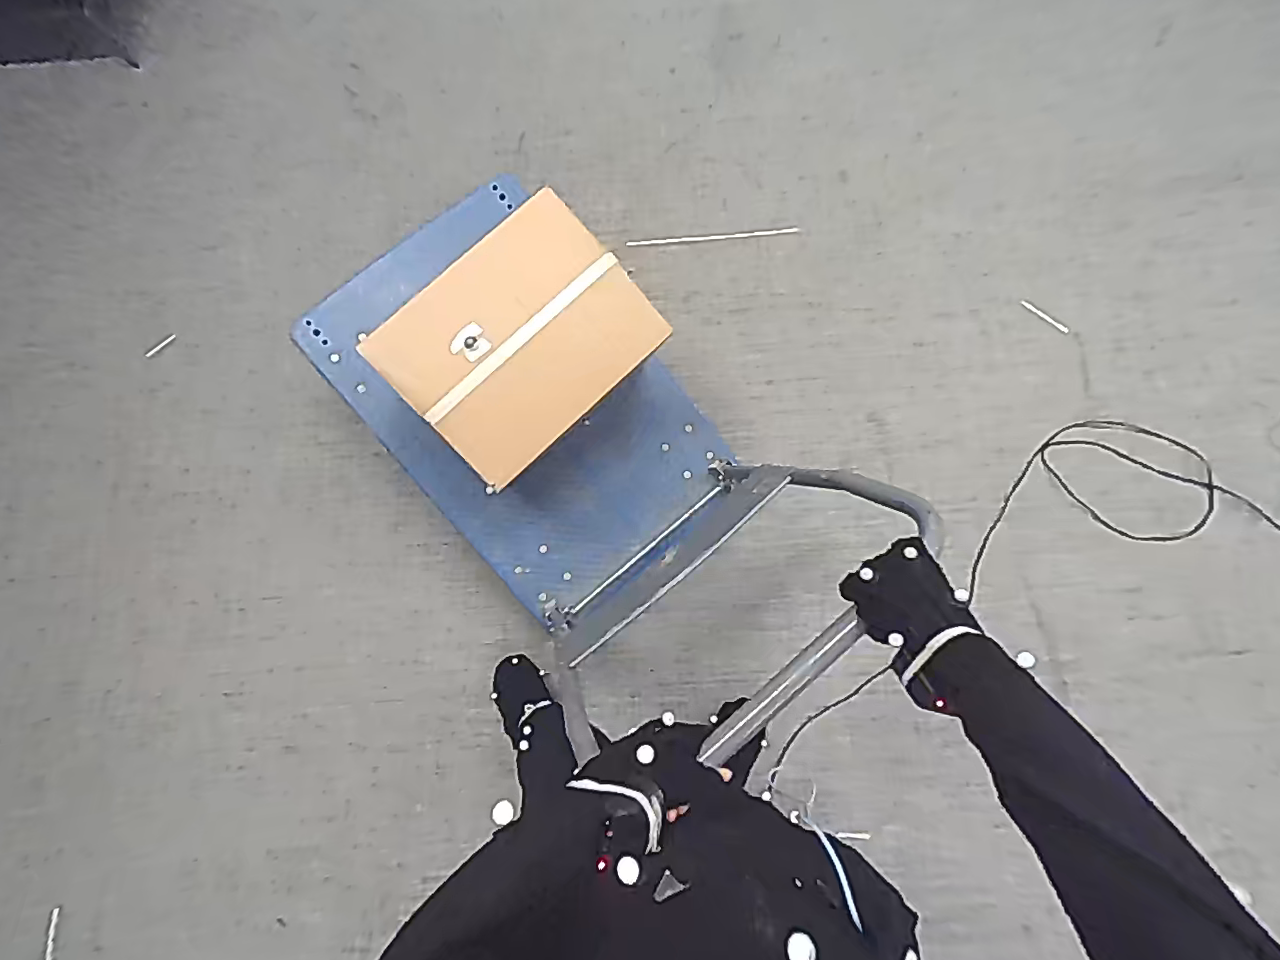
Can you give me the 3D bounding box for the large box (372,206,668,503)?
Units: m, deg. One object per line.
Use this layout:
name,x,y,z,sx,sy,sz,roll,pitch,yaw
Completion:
large box,-0.212,-0.216,1.042,0.408,0.320,0.320,-45,98,-5
